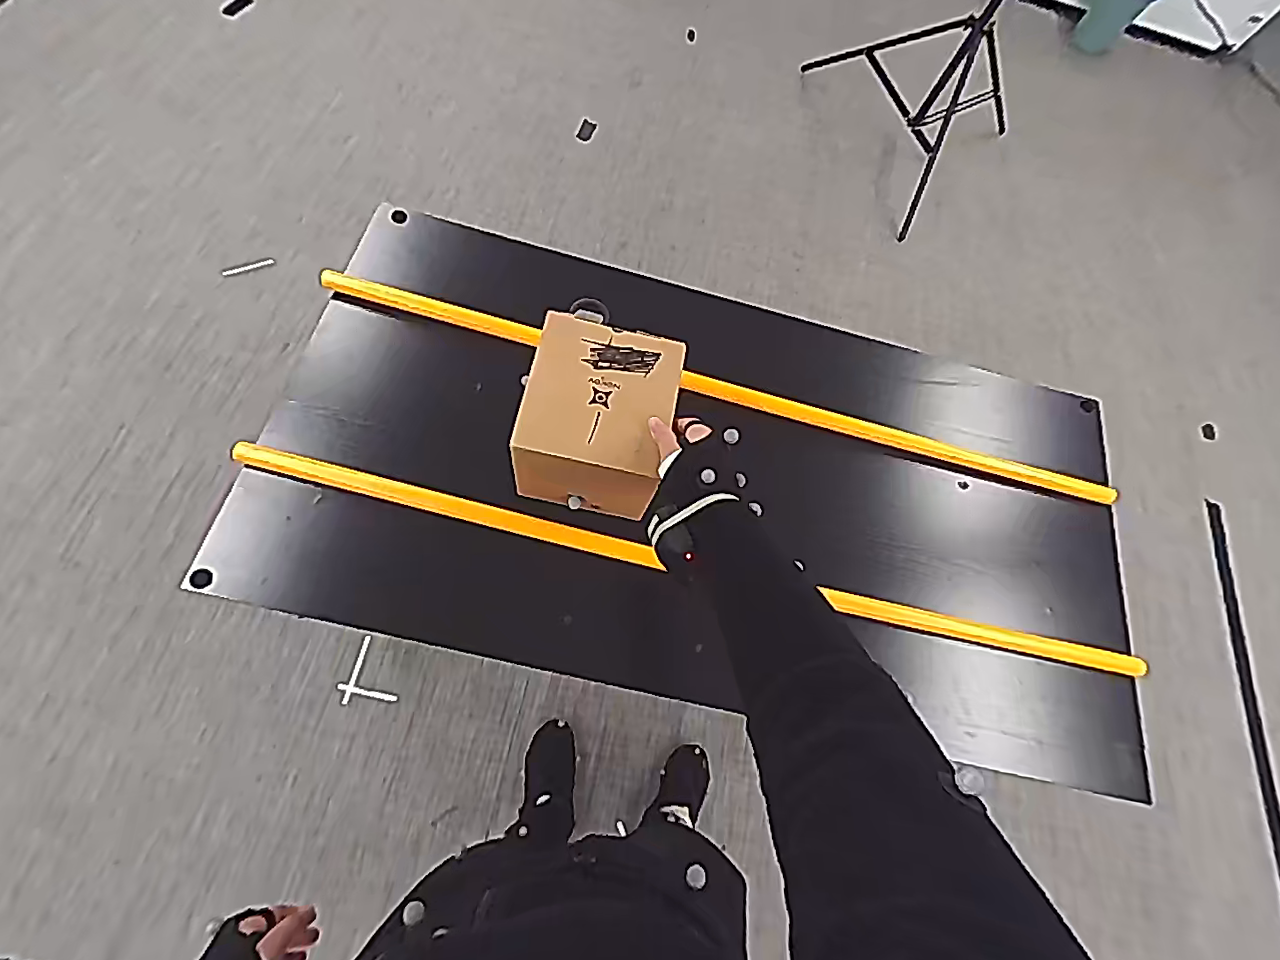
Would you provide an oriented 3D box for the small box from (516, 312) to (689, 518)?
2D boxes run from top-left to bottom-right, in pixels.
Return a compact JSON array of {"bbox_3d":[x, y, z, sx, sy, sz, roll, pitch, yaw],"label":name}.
[{"bbox_3d":[-0.049,-0.070,0.672,0.168,0.176,0.179,13,69,-4],"label":"small box"}]
